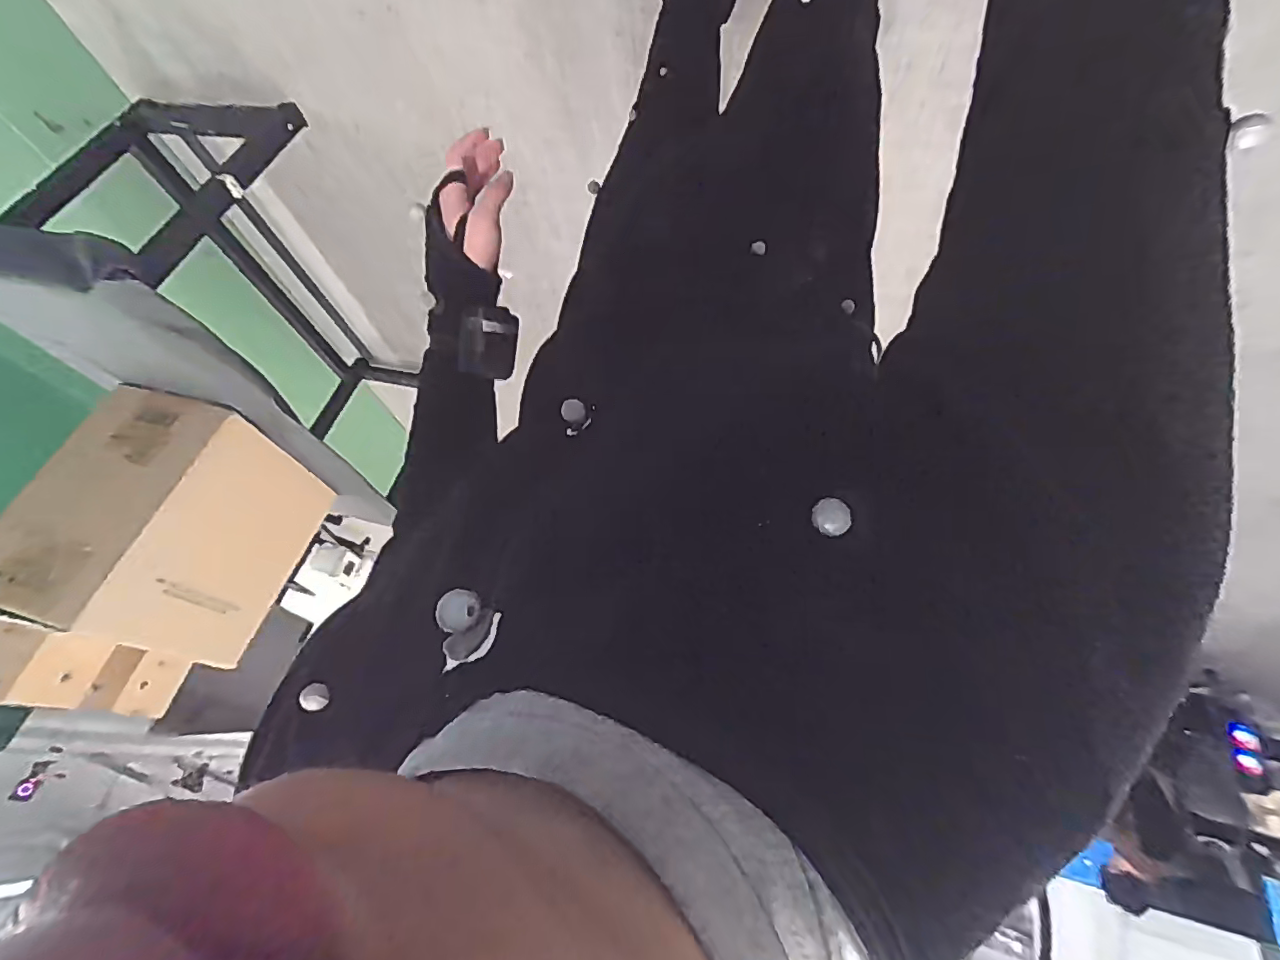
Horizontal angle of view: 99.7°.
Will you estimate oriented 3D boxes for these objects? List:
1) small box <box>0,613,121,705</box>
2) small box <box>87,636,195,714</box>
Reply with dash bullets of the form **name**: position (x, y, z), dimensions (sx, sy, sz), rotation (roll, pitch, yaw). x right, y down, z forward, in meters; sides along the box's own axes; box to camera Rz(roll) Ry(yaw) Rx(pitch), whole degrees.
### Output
- **small box**: position (-1.463, 0.443, 1.334), dimensions (0.168, 0.176, 0.179), rotation (9, 154, 8)
- **small box**: position (-1.444, 0.561, 1.561), dimensions (0.179, 0.176, 0.168), rotation (10, 152, 10)
